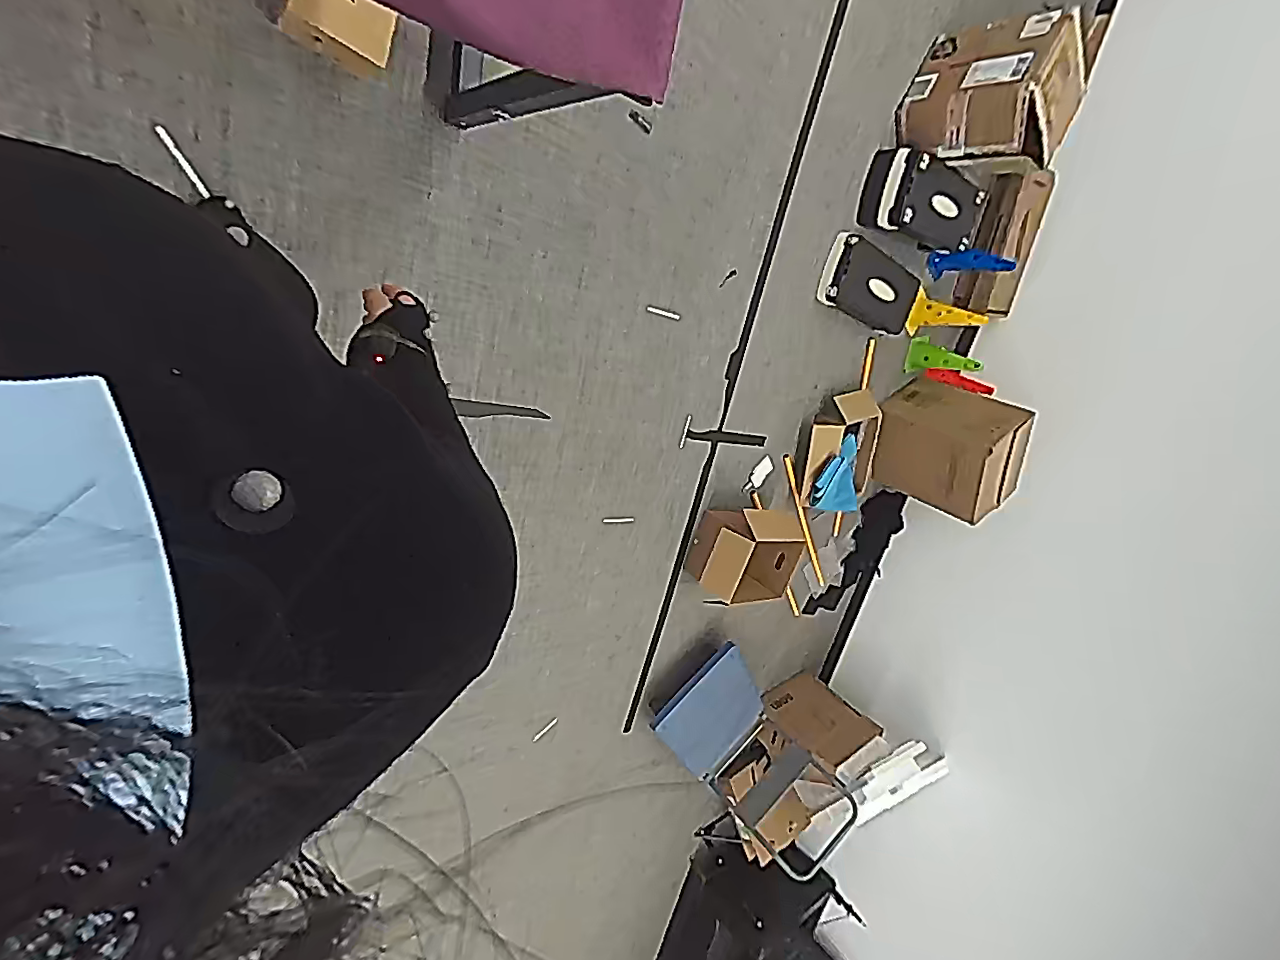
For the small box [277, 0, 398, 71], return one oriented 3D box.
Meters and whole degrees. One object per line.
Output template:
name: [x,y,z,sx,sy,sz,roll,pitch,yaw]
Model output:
small box: [-0.572,-0.922,1.026,0.168,0.176,0.179,11,105,-43]
